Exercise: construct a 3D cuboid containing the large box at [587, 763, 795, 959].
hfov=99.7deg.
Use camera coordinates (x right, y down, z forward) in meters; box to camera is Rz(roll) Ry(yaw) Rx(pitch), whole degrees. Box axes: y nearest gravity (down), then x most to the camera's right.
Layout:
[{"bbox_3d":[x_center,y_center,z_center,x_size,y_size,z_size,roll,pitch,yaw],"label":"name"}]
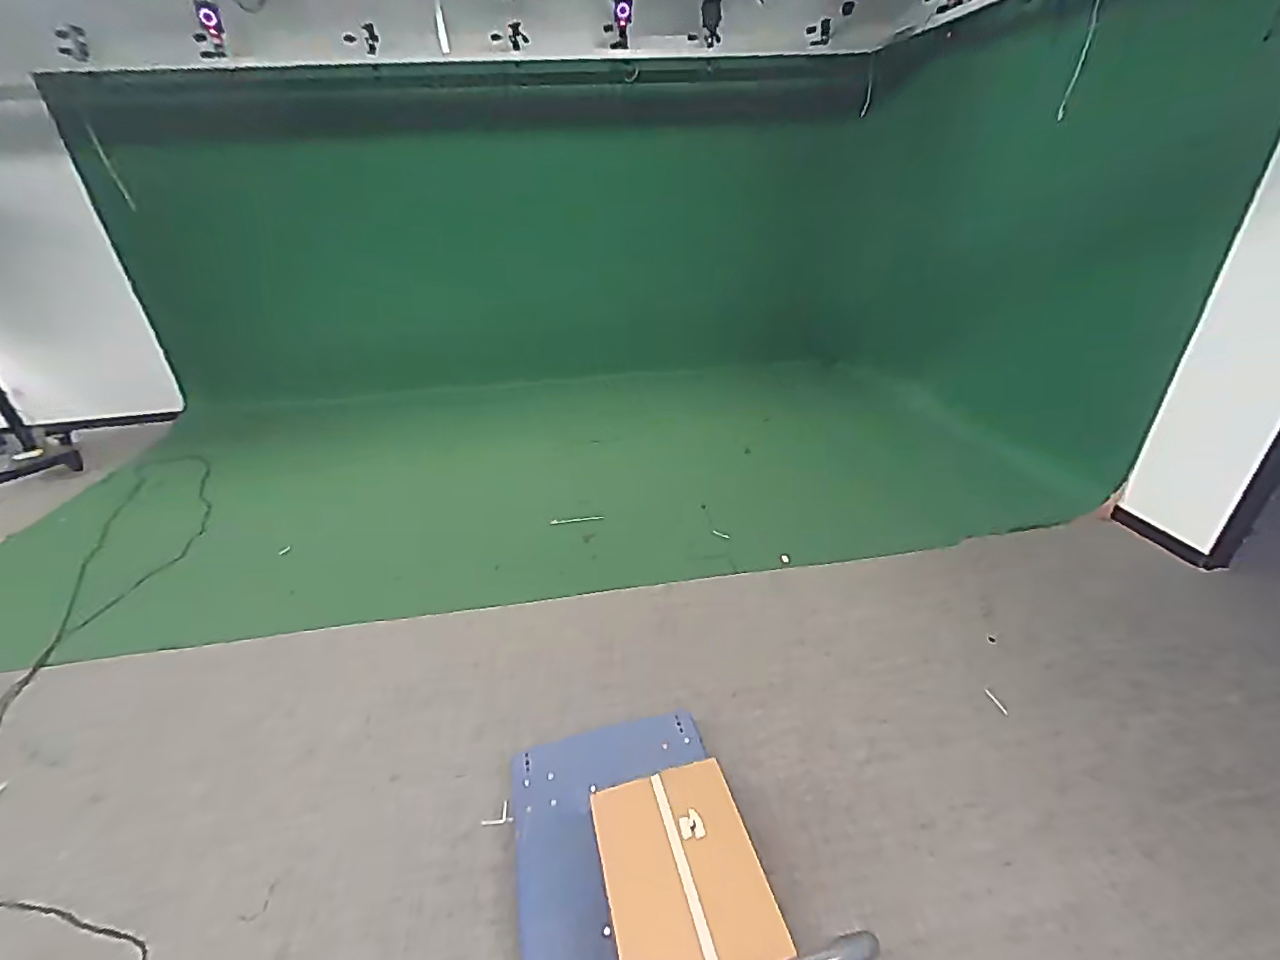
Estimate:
[{"bbox_3d":[0.086,0.922,1.165,0.320,0.320,0.408,-9,29,-12],"label":"large box"}]
